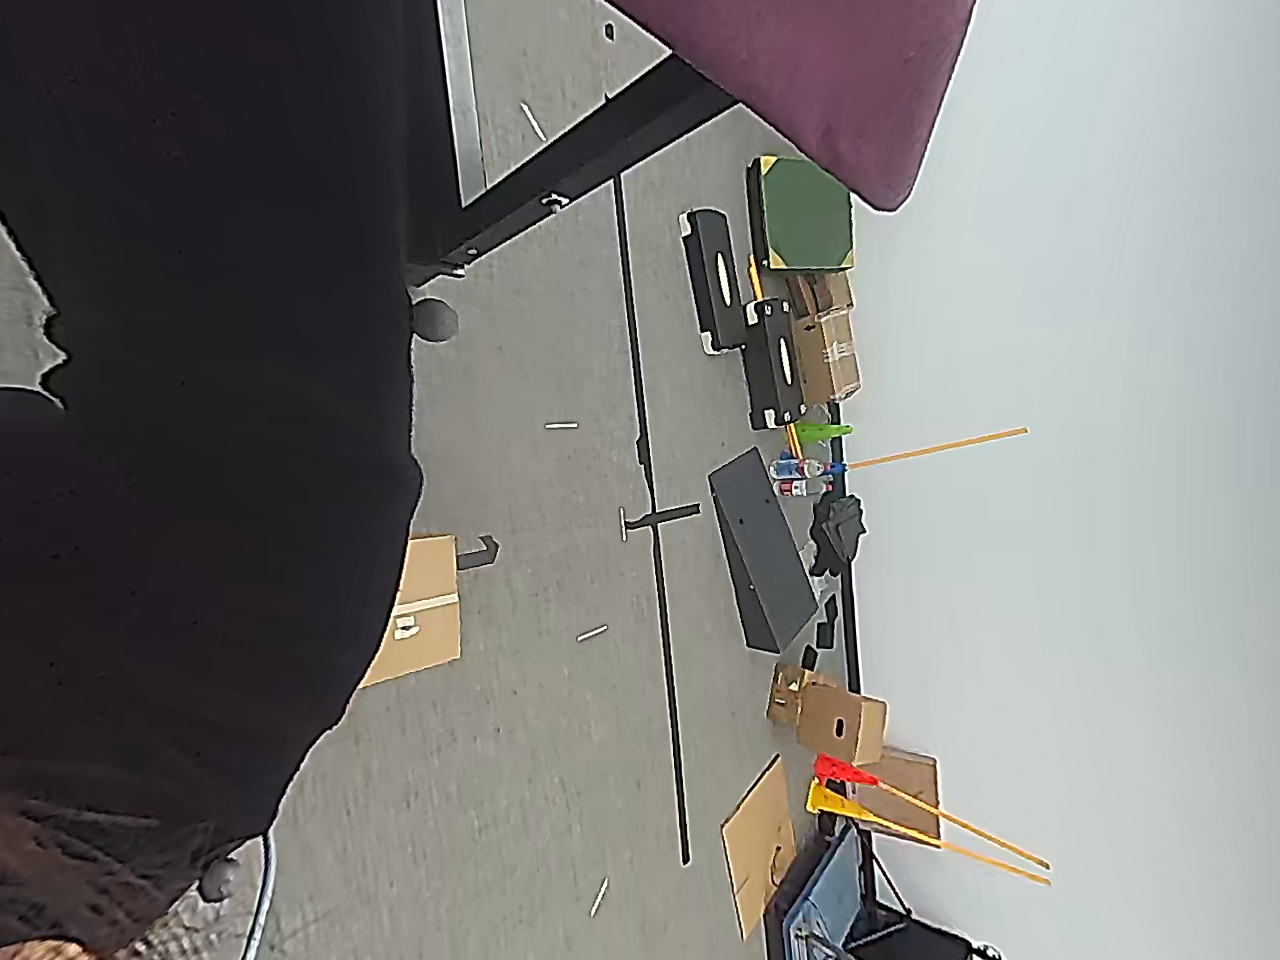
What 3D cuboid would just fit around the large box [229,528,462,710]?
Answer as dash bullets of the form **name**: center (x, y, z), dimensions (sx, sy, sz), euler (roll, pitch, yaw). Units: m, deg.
- **large box**: center (-0.697, 0.294, 1.296), dimensions (0.408, 0.320, 0.320), euler (-4, 92, -48)
